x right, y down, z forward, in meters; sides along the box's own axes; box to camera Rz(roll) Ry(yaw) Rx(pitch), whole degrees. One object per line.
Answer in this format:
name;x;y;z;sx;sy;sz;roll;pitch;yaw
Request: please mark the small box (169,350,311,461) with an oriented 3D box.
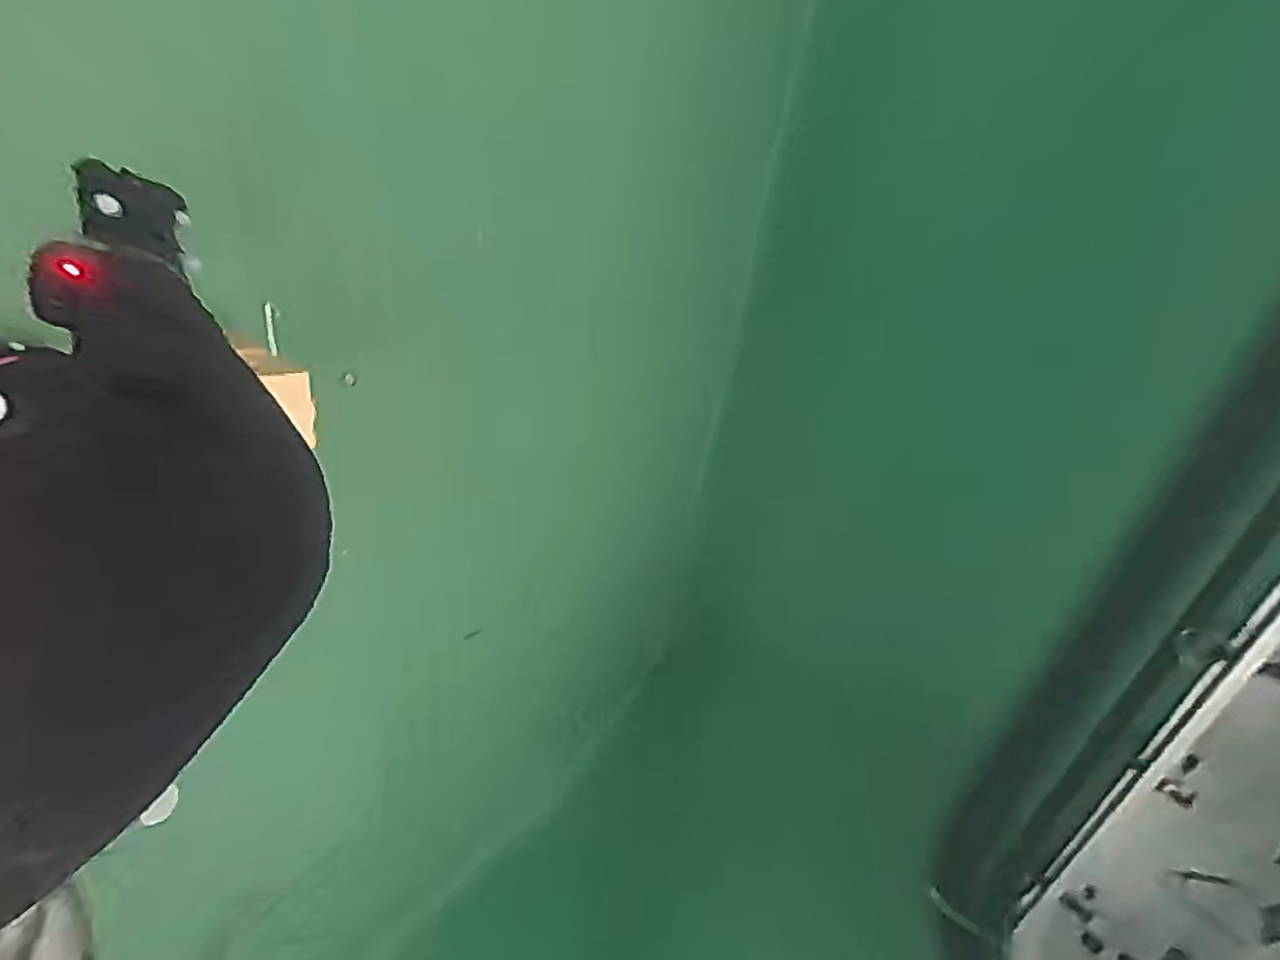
small box;-0.791;-0.158;1.073;0.179;0.176;0.168;-25;131;-51
